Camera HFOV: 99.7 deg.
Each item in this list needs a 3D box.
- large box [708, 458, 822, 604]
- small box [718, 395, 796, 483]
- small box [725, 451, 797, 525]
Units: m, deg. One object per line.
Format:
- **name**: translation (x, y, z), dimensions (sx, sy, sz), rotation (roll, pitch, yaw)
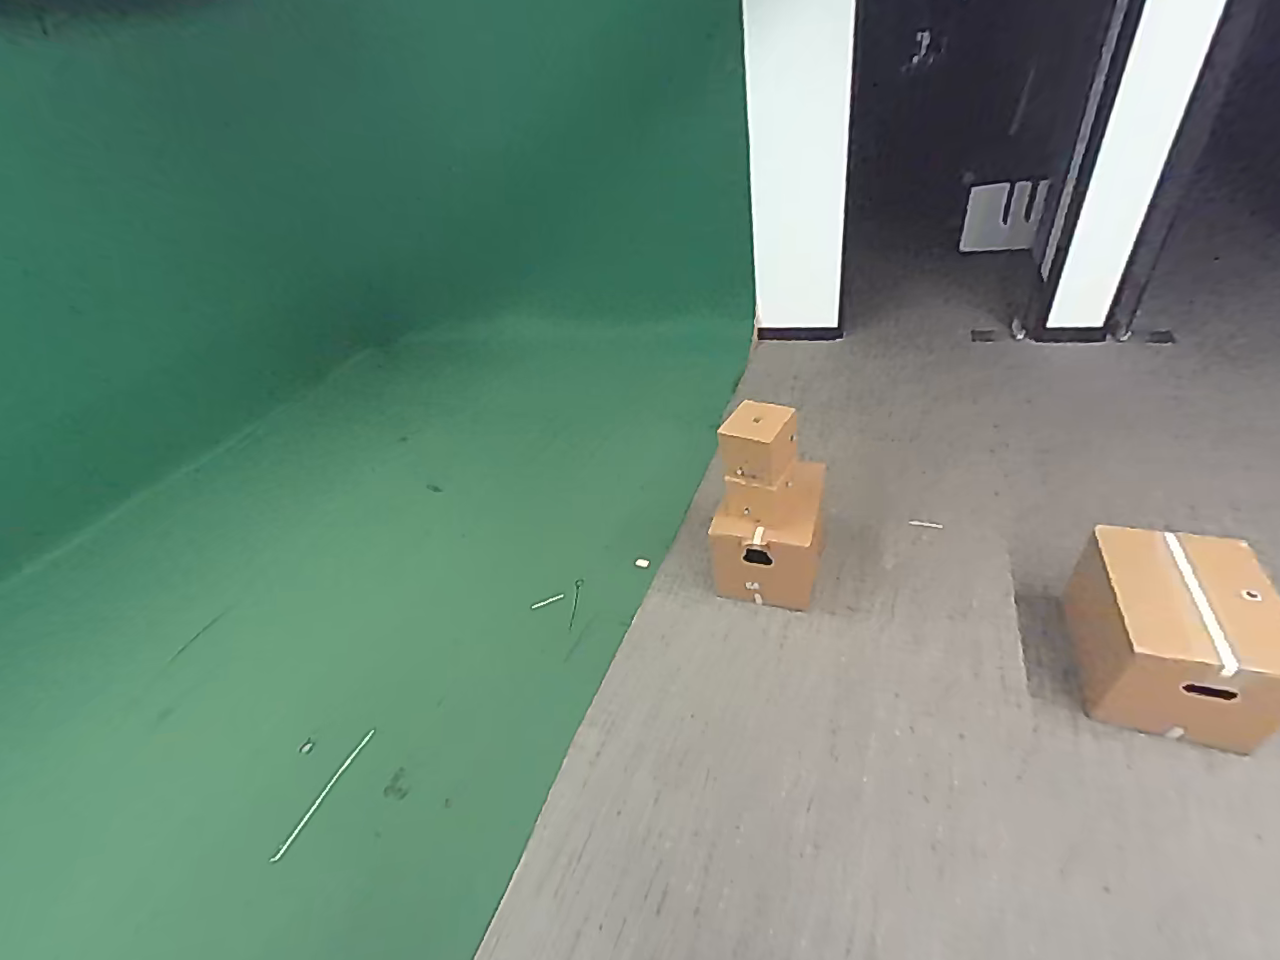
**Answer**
- **large box**: translation (0.445, 0.161, 1.861), dimensions (0.320, 0.320, 0.408), rotation (6, 42, 22)
- **small box**: translation (0.346, -0.122, 1.583), dimensions (0.168, 0.176, 0.179), rotation (17, 49, 34)
- **small box**: translation (0.377, 0.009, 1.677), dimensions (0.168, 0.176, 0.179), rotation (14, 47, 31)
